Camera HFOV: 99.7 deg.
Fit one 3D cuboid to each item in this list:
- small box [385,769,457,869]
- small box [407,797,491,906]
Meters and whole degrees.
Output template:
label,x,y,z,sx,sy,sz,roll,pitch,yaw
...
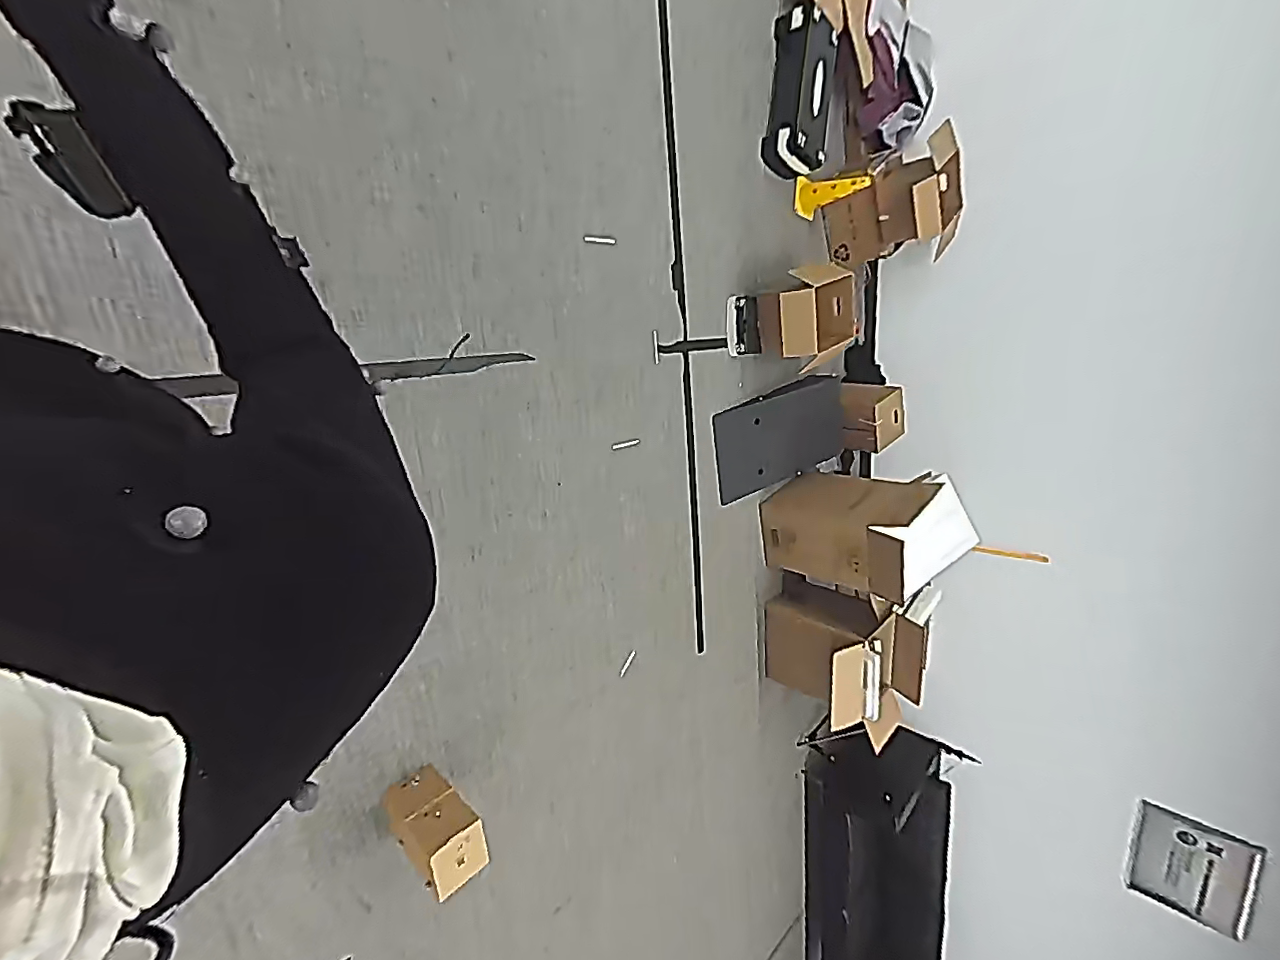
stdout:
label,x,y,z,sx,sy,sz,roll,pitch,yaw
small box,-0.695,1.082,1.742,0.168,0.176,0.179,-20,111,-44
small box,-0.577,1.111,1.632,0.168,0.176,0.179,-20,111,-44
